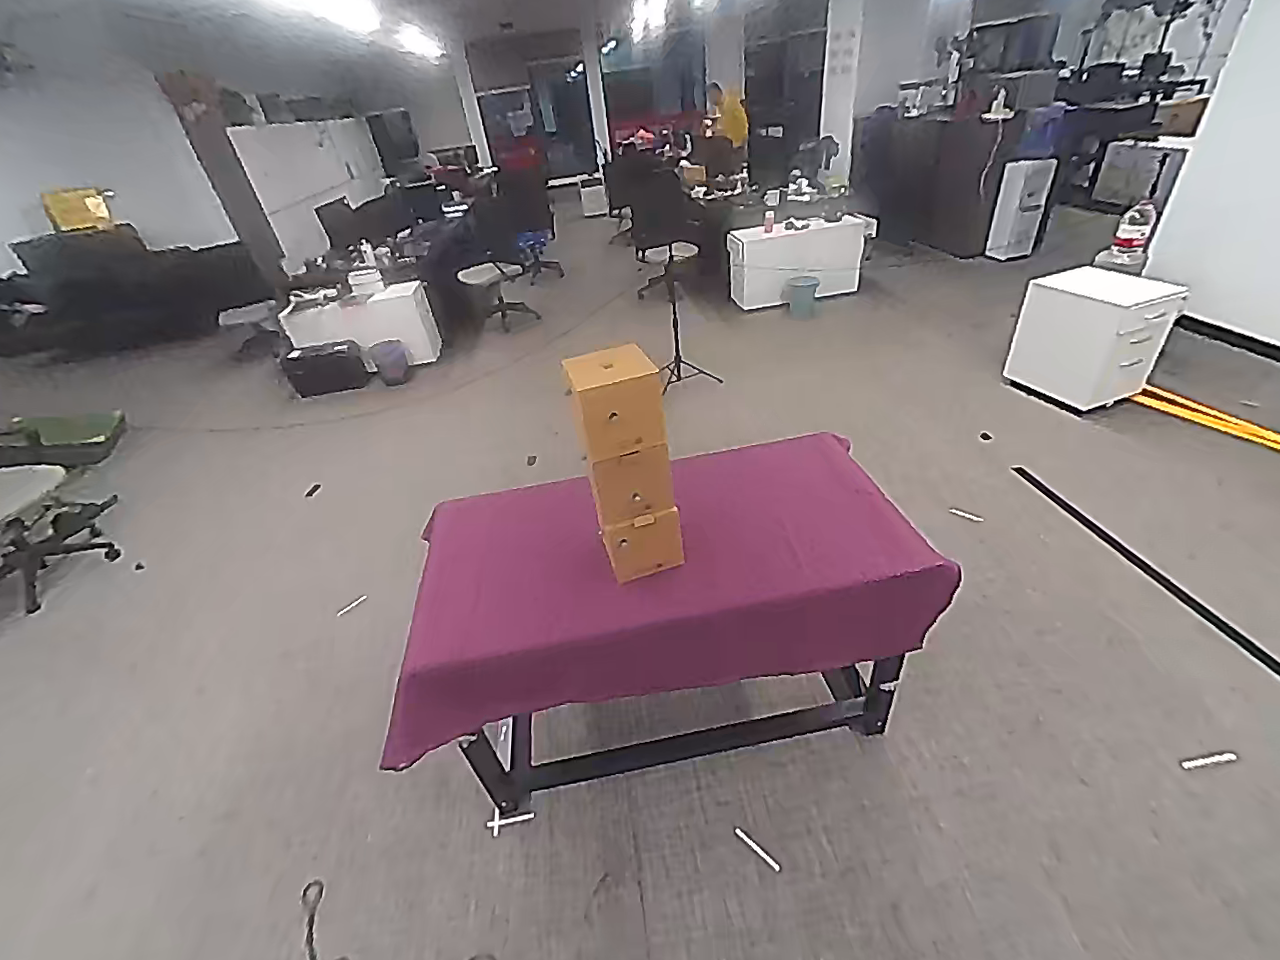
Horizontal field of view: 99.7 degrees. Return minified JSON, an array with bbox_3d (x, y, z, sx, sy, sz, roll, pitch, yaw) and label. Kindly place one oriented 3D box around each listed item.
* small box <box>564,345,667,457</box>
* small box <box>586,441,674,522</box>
[{"bbox_3d":[-0.049,-0.162,1.135,0.168,0.176,0.179,-16,34,-10],"label":"small box"},{"bbox_3d":[-0.027,-0.032,1.230,0.168,0.176,0.179,-14,35,-7],"label":"small box"}]
